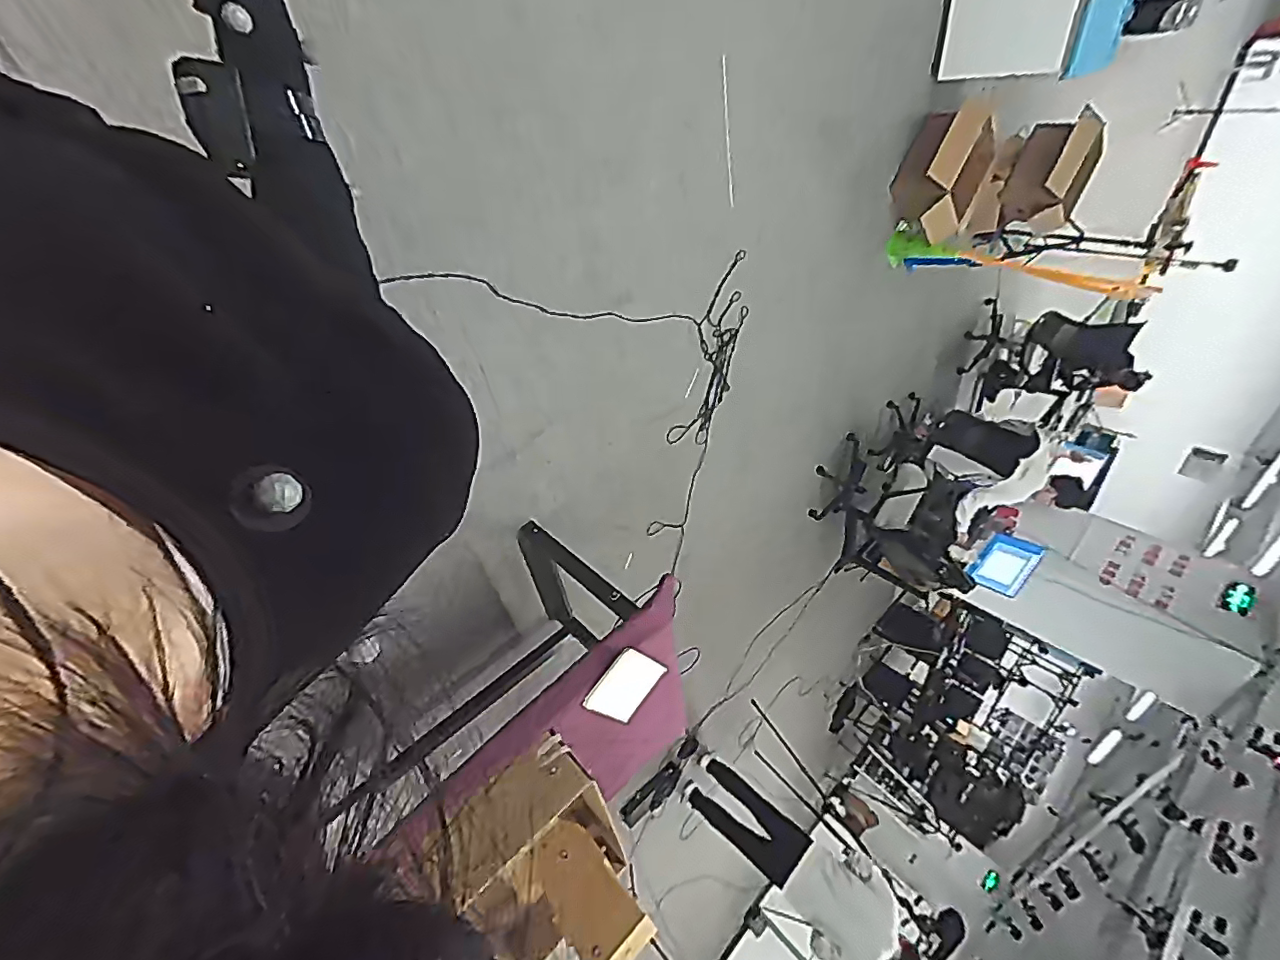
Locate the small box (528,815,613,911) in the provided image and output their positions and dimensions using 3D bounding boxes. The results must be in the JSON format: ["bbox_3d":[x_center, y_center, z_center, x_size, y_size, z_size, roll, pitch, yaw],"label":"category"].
[{"bbox_3d":[-0.186,1.075,1.495,0.168,0.176,0.179,-34,133,-28],"label":"small box"}]

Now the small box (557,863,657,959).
[{"bbox_3d":[-0.083,1.137,1.387,0.179,0.176,0.168,-36,134,-26],"label":"small box"}]
